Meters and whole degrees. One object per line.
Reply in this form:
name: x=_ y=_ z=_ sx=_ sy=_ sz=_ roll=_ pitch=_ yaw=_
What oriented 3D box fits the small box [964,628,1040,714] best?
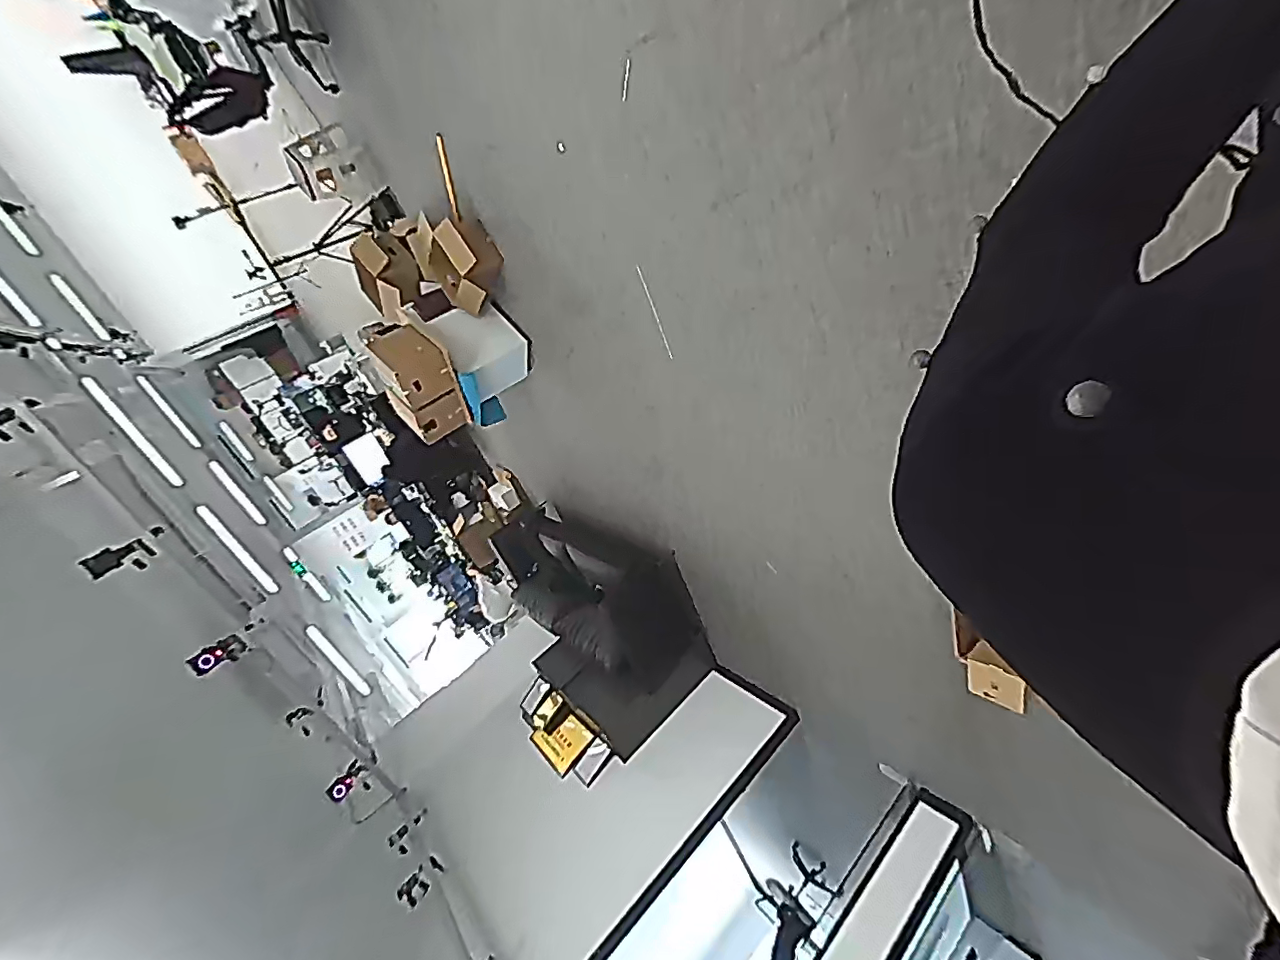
small box: x=1.209 y=0.631 z=1.806 sx=0.168 sy=0.176 sz=0.179 roll=19 pitch=136 yaw=48
